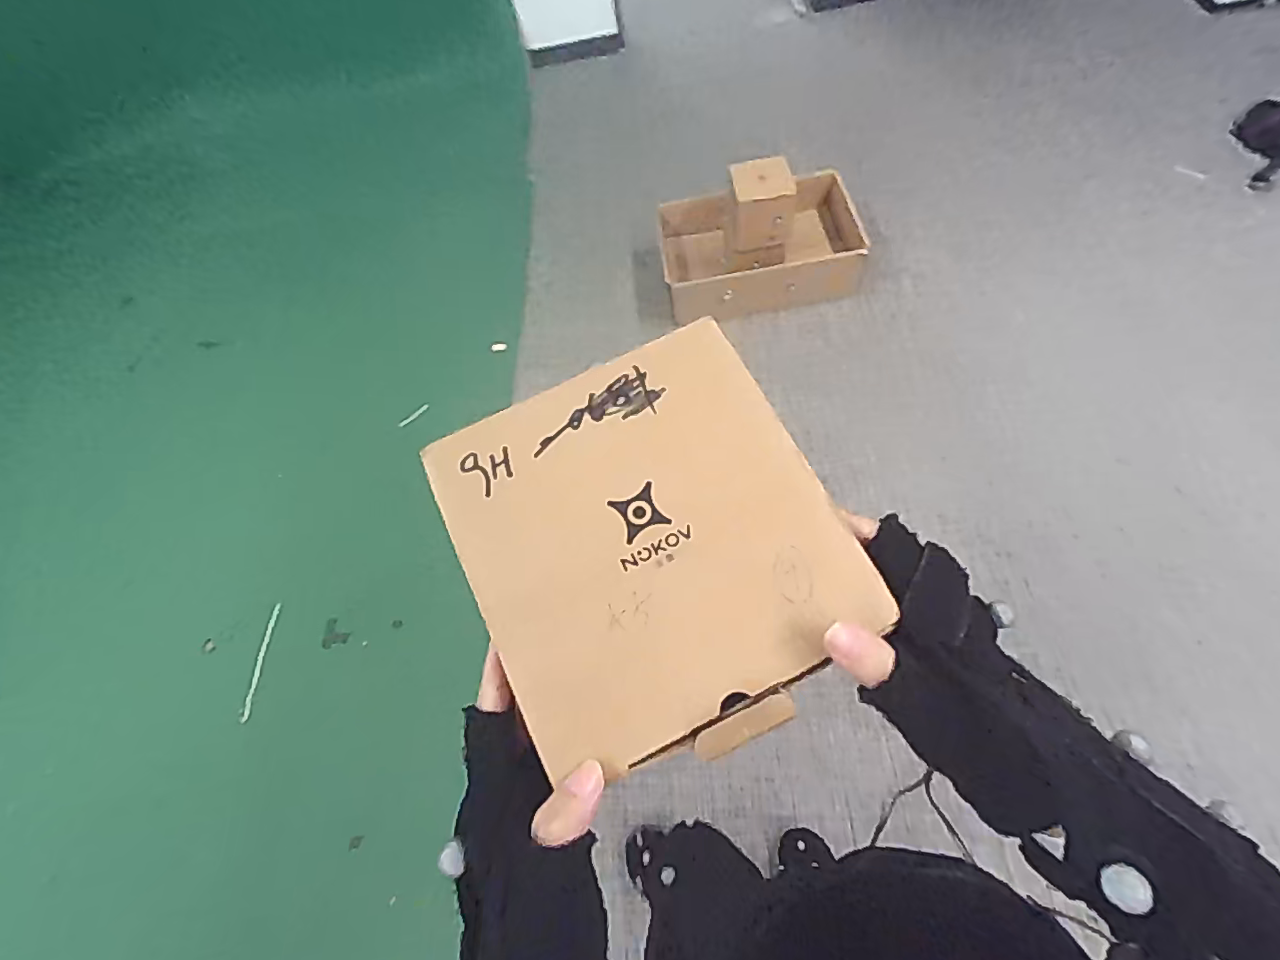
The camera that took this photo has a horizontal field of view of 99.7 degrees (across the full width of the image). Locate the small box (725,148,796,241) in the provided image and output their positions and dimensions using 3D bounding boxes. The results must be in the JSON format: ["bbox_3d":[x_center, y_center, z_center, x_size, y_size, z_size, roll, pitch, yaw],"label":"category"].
[{"bbox_3d":[0.350,-0.831,1.594,0.168,0.176,0.179,-12,62,3],"label":"small box"}]

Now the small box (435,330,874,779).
[{"bbox_3d":[0.006,0.046,0.343,0.168,0.176,0.179,-26,75,-5],"label":"small box"}]

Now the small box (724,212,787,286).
[{"bbox_3d":[0.370,-0.761,1.757,0.179,0.176,0.168,-8,61,7],"label":"small box"}]
